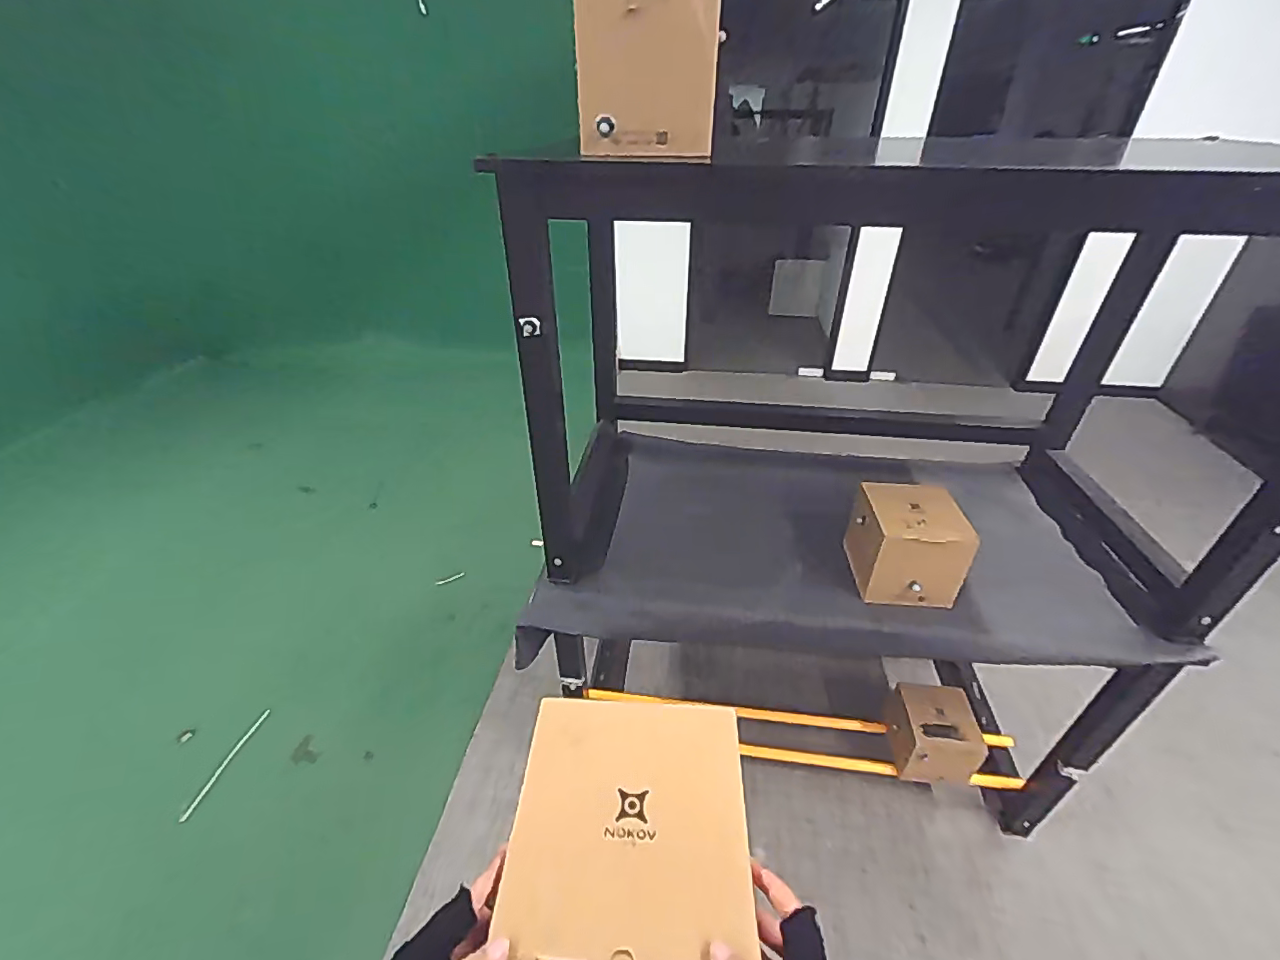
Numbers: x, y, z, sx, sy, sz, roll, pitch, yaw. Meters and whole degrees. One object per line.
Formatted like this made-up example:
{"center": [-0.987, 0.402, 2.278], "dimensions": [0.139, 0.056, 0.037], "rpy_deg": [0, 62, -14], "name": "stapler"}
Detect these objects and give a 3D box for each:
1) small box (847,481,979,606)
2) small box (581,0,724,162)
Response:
{"center": [0.522, 0.122, 1.067], "dimensions": [0.168, 0.176, 0.179], "rpy_deg": [3, 34, 5], "name": "small box"}
{"center": [0.019, -0.523, 0.716], "dimensions": [0.168, 0.176, 0.179], "rpy_deg": [2, 34, 2], "name": "small box"}
